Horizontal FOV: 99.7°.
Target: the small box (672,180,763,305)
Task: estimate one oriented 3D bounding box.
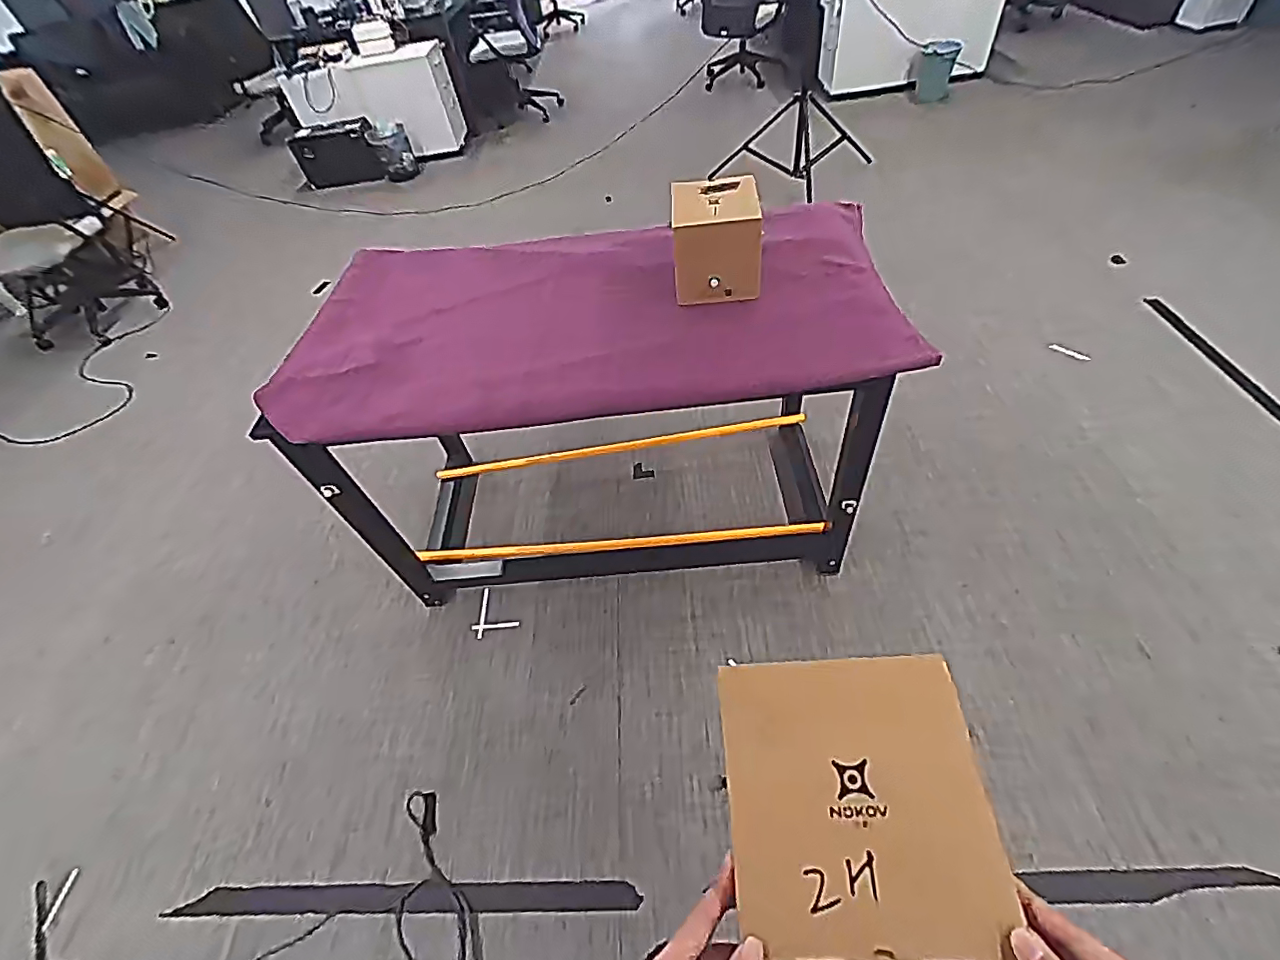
[{"bbox_3d":[0.153,-0.477,1.092,0.168,0.176,0.179,-3,51,7],"label":"small box"}]

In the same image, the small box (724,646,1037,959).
[{"bbox_3d":[0.154,0.243,0.422,0.168,0.176,0.179,-6,56,9],"label":"small box"}]
